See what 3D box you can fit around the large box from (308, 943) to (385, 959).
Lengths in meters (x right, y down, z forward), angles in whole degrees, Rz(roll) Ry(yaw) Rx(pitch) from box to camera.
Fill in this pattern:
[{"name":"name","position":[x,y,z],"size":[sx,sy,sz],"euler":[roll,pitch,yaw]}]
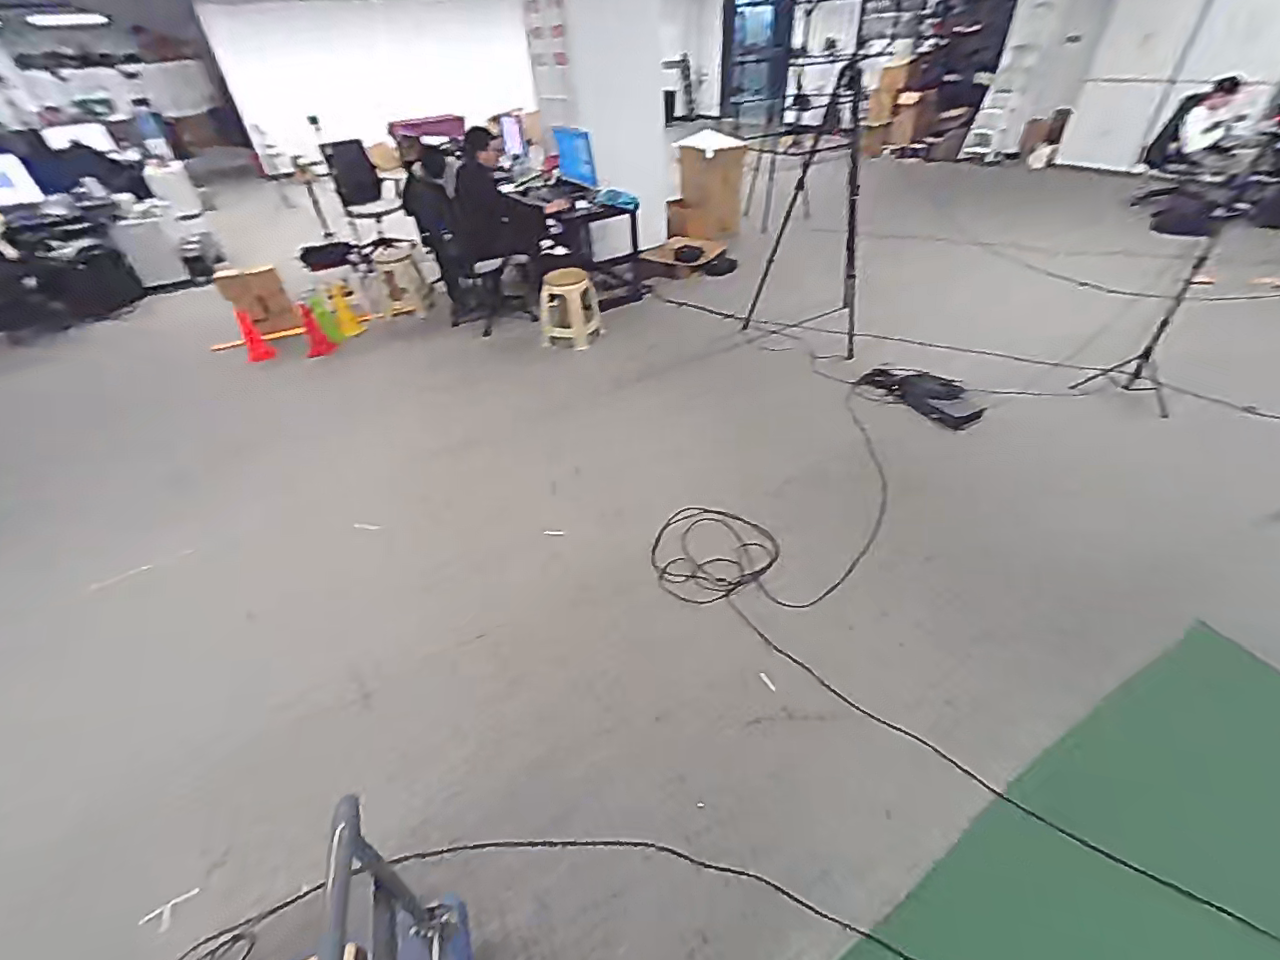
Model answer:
[{"name":"large box","position":[-0.615,1.048,0.872],"size":[0.408,0.320,0.320],"euler":[-15,40,-12]}]
